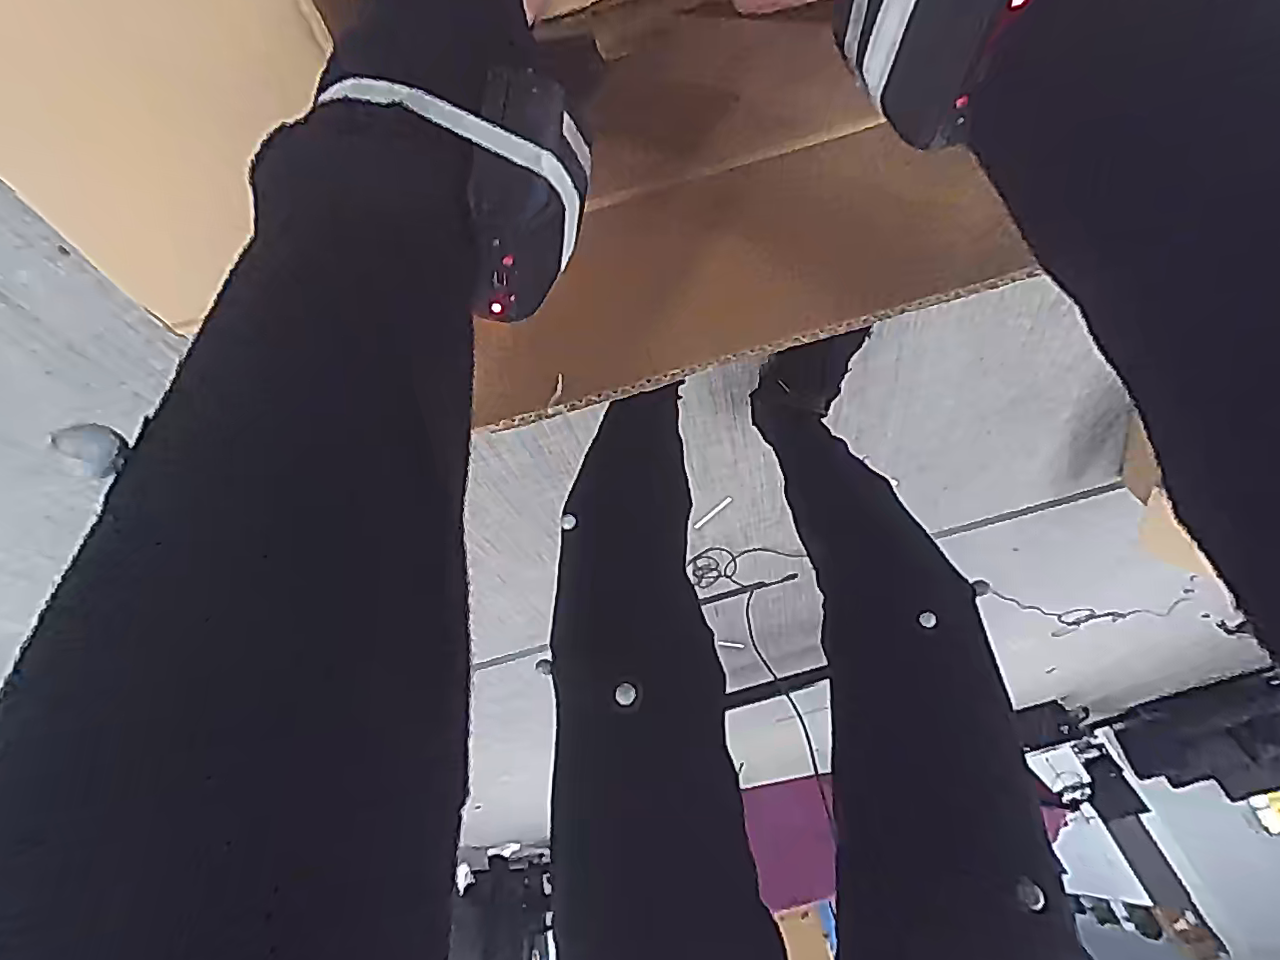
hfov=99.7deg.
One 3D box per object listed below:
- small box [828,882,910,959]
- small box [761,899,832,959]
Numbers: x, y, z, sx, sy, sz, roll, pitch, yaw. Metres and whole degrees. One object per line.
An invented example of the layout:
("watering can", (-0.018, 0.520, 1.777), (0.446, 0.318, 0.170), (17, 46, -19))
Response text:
("small box", (0.698, 1.366, 1.671), (0.168, 0.176, 0.179), (-15, 143, 1))
("small box", (0.487, 1.430, 1.679), (0.168, 0.176, 0.179), (-20, 144, 6))
